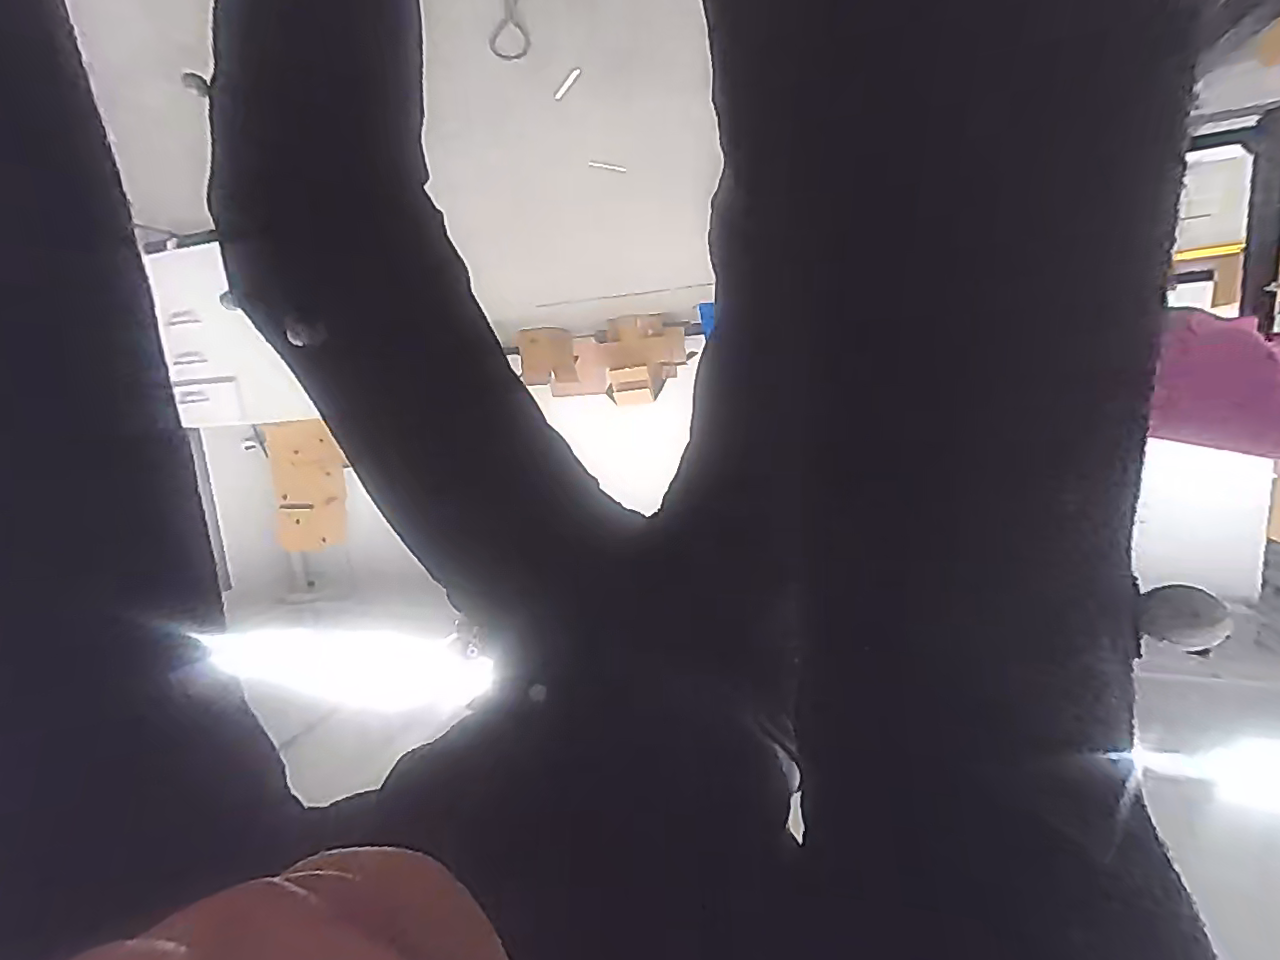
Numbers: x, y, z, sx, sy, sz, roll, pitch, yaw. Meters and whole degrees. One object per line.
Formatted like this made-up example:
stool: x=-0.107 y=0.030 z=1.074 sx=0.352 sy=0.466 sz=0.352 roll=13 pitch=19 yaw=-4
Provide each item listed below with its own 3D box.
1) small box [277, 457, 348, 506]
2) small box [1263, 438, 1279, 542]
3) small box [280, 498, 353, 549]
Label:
small box: x=-1.275 y=0.001 z=2.100 sx=0.179 sy=0.176 sz=0.168 roll=-1 pitch=-169 yaw=14
small box: x=1.070 y=0.023 z=0.771 sx=0.179 sy=0.176 sz=0.168 roll=-1 pitch=-171 yaw=20
small box: x=-1.266 y=0.163 z=2.119 sx=0.168 sy=0.176 sz=0.179 roll=0 pitch=-170 yaw=15
